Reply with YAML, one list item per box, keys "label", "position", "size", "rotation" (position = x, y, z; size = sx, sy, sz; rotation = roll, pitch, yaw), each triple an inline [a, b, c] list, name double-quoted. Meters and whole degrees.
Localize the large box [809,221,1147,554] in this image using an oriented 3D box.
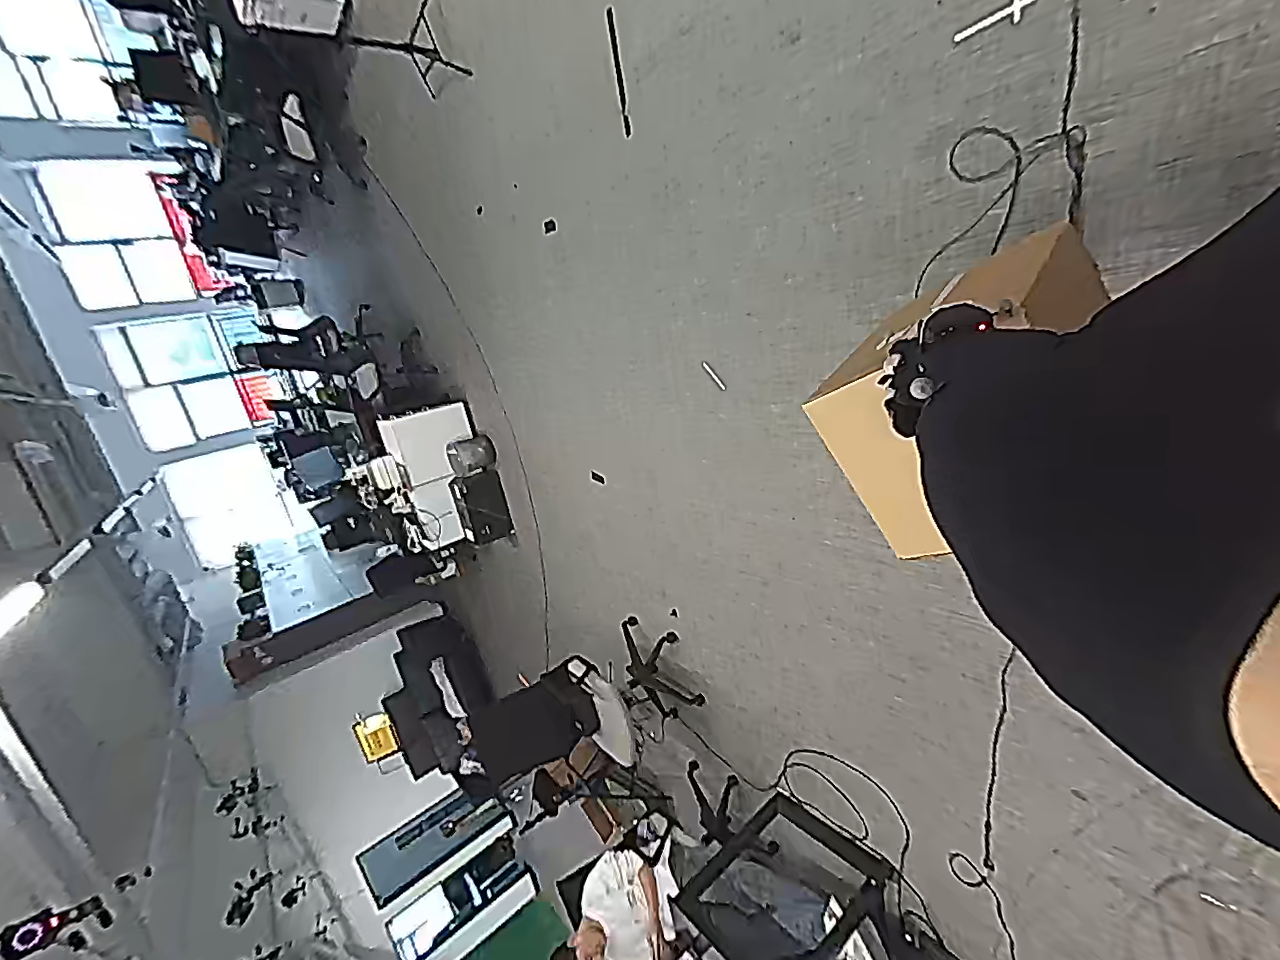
- label: "large box"
  position: [0.549, -0.142, 0.867]
  size: [0.320, 0.408, 0.320]
  rotation: [53, 143, -7]
